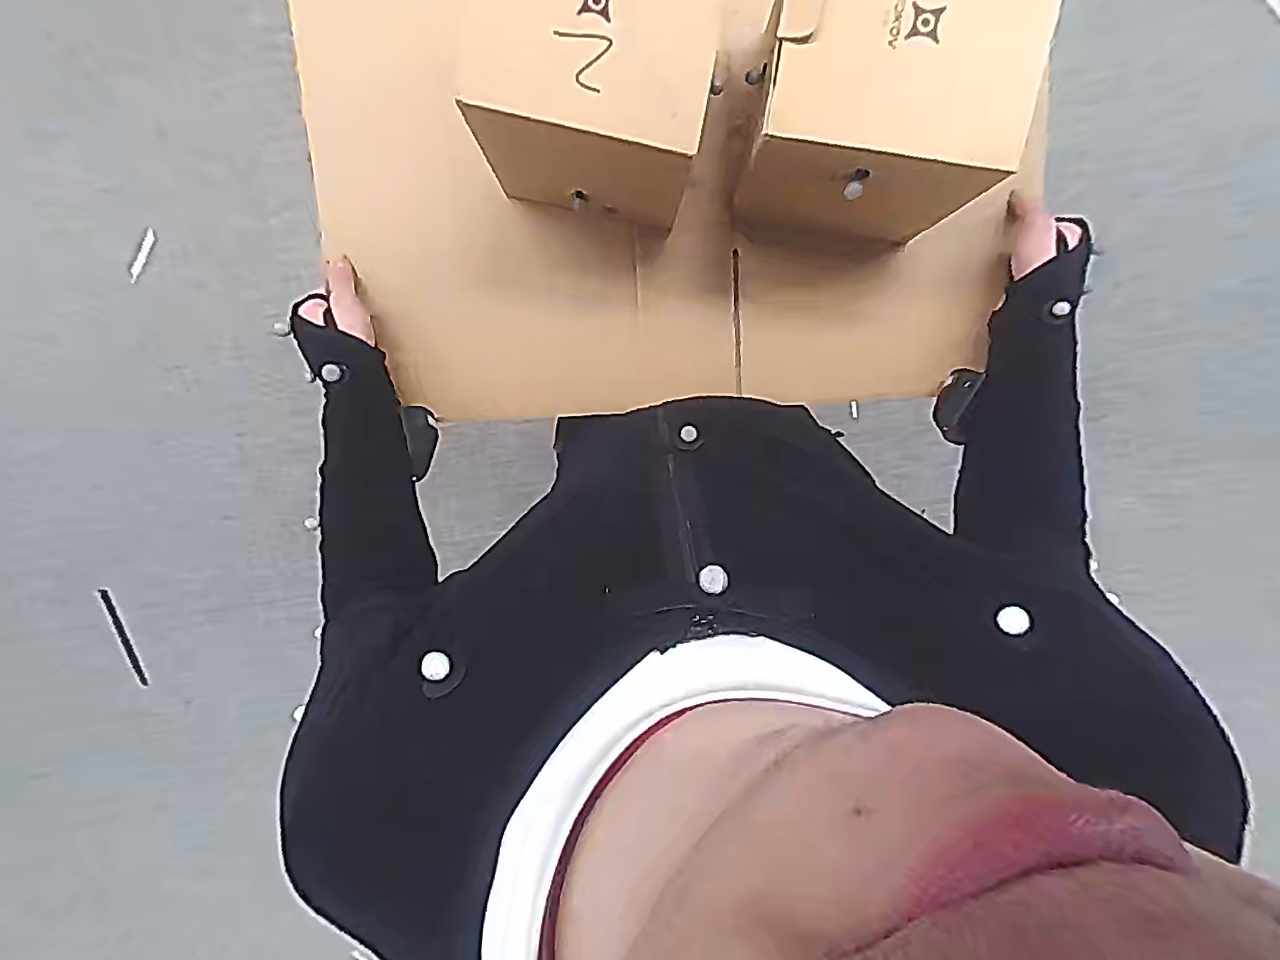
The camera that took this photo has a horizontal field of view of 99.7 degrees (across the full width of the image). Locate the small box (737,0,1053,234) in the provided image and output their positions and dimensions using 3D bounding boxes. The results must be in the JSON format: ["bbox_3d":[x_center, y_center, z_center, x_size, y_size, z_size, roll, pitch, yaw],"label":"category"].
[{"bbox_3d":[0.189,-0.317,0.444,0.179,0.176,0.168,10,99,2],"label":"small box"}]
